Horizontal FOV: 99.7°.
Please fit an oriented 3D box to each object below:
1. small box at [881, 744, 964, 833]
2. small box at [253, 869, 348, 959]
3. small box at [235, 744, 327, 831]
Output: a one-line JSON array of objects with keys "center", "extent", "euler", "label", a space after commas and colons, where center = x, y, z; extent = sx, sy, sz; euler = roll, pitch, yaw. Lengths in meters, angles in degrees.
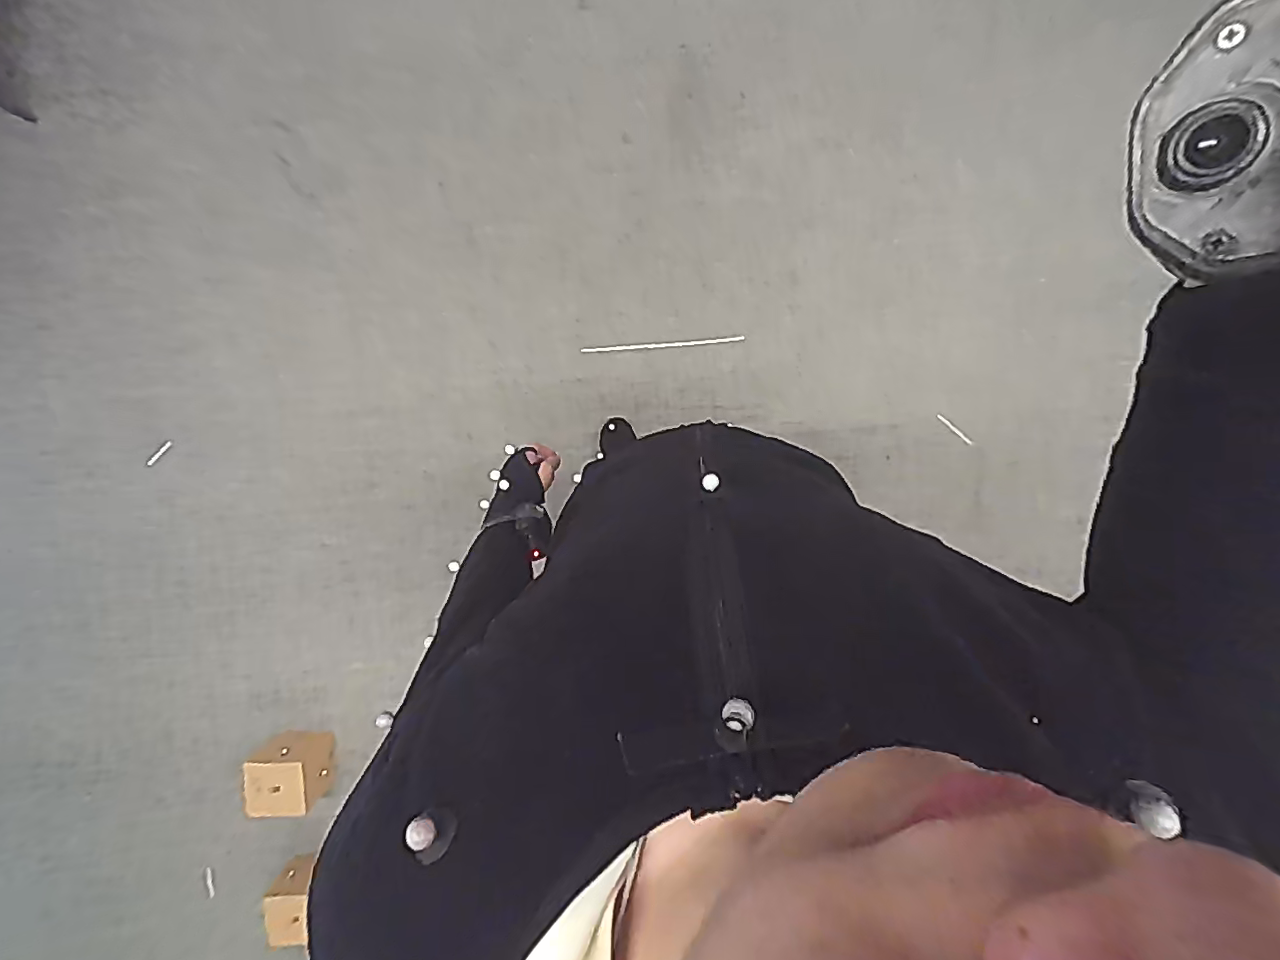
[{"center": [0.832, 0.907, 1.606], "extent": [0.168, 0.176, 0.179], "euler": [-2, 94, 0], "label": "small box"}, {"center": [-1.027, 1.327, 1.646], "extent": [0.179, 0.176, 0.168], "euler": [-5, 95, 1], "label": "small box"}, {"center": [-1.058, 0.911, 1.611], "extent": [0.179, 0.176, 0.168], "euler": [0, 94, 0], "label": "small box"}]
